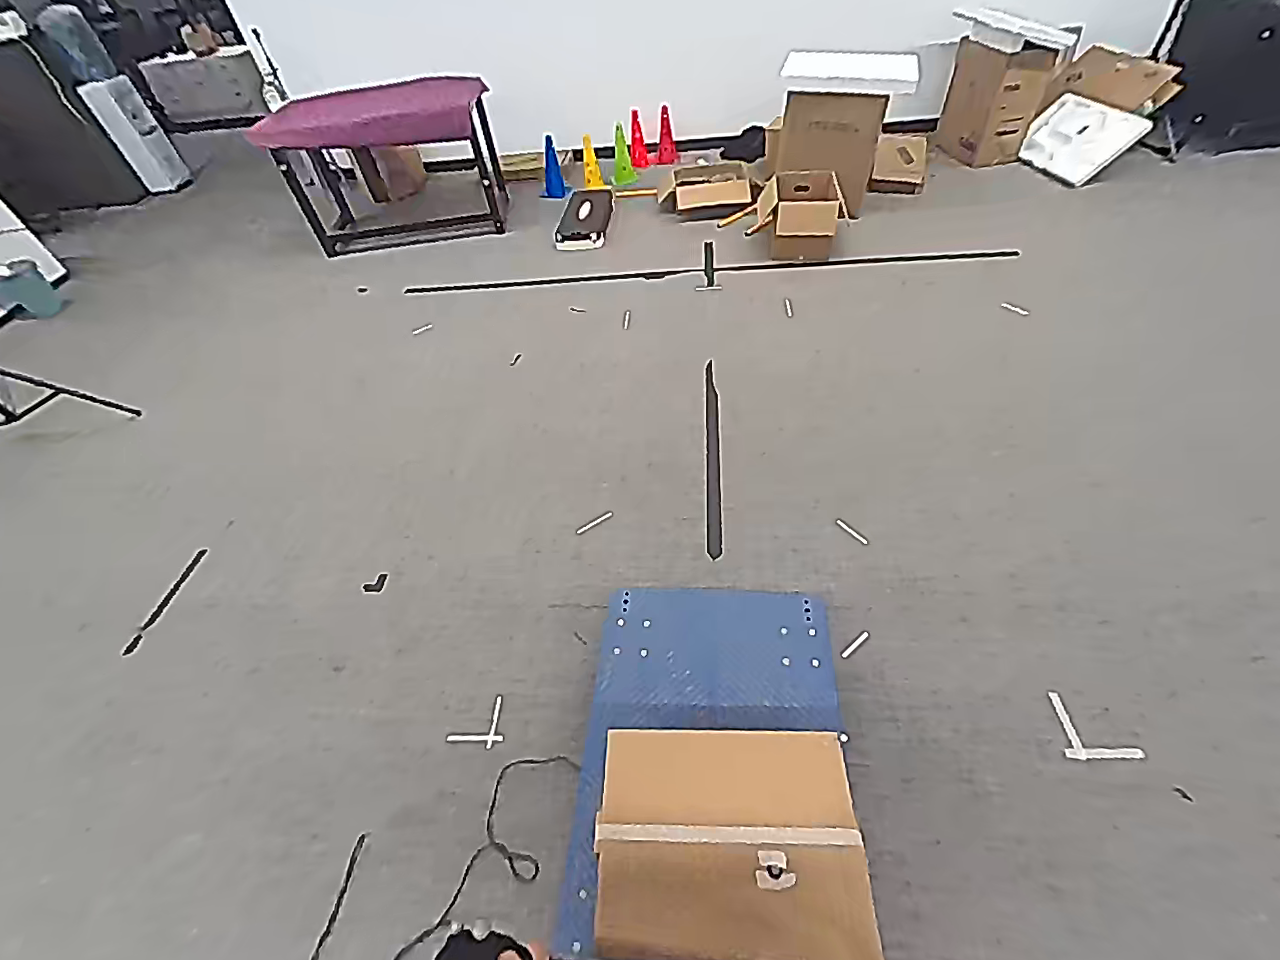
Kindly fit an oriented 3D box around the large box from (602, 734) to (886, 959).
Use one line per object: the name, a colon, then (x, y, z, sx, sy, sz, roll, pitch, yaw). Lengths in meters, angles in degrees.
large box: (0.154, 0.665, 0.961, 0.408, 0.320, 0.320, -1, 48, 4)
